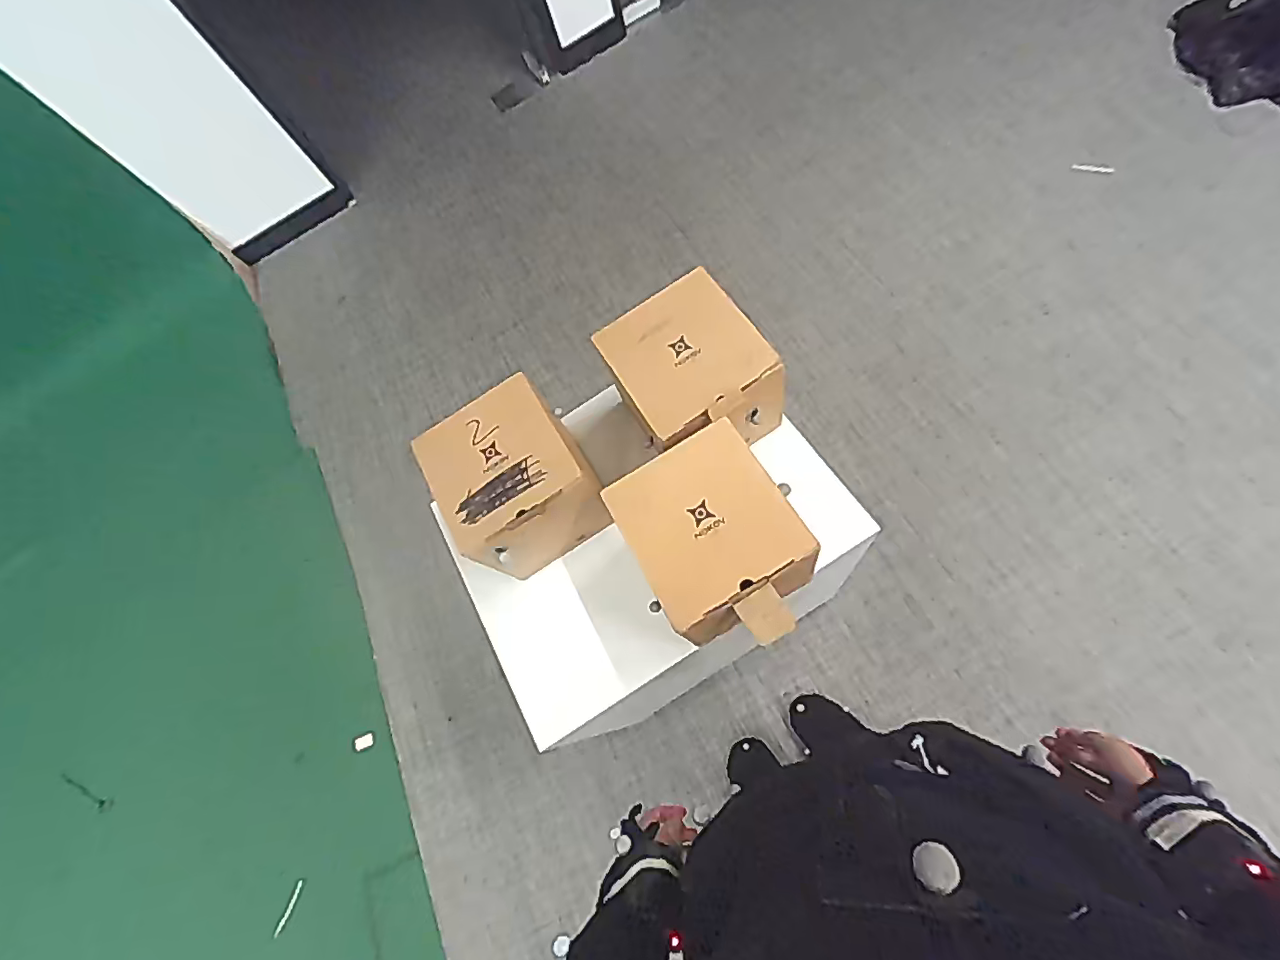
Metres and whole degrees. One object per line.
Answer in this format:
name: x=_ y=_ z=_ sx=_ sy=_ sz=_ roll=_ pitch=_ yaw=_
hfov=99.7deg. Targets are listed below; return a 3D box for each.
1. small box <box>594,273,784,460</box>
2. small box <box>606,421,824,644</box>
small box: x=0.070 y=-0.120 z=0.704 sx=0.168 sy=0.176 sz=0.179 roll=-33 pitch=65 yaw=-1
small box: x=0.086 y=0.070 z=0.627 sx=0.168 sy=0.176 sz=0.179 roll=-31 pitch=65 yaw=0
